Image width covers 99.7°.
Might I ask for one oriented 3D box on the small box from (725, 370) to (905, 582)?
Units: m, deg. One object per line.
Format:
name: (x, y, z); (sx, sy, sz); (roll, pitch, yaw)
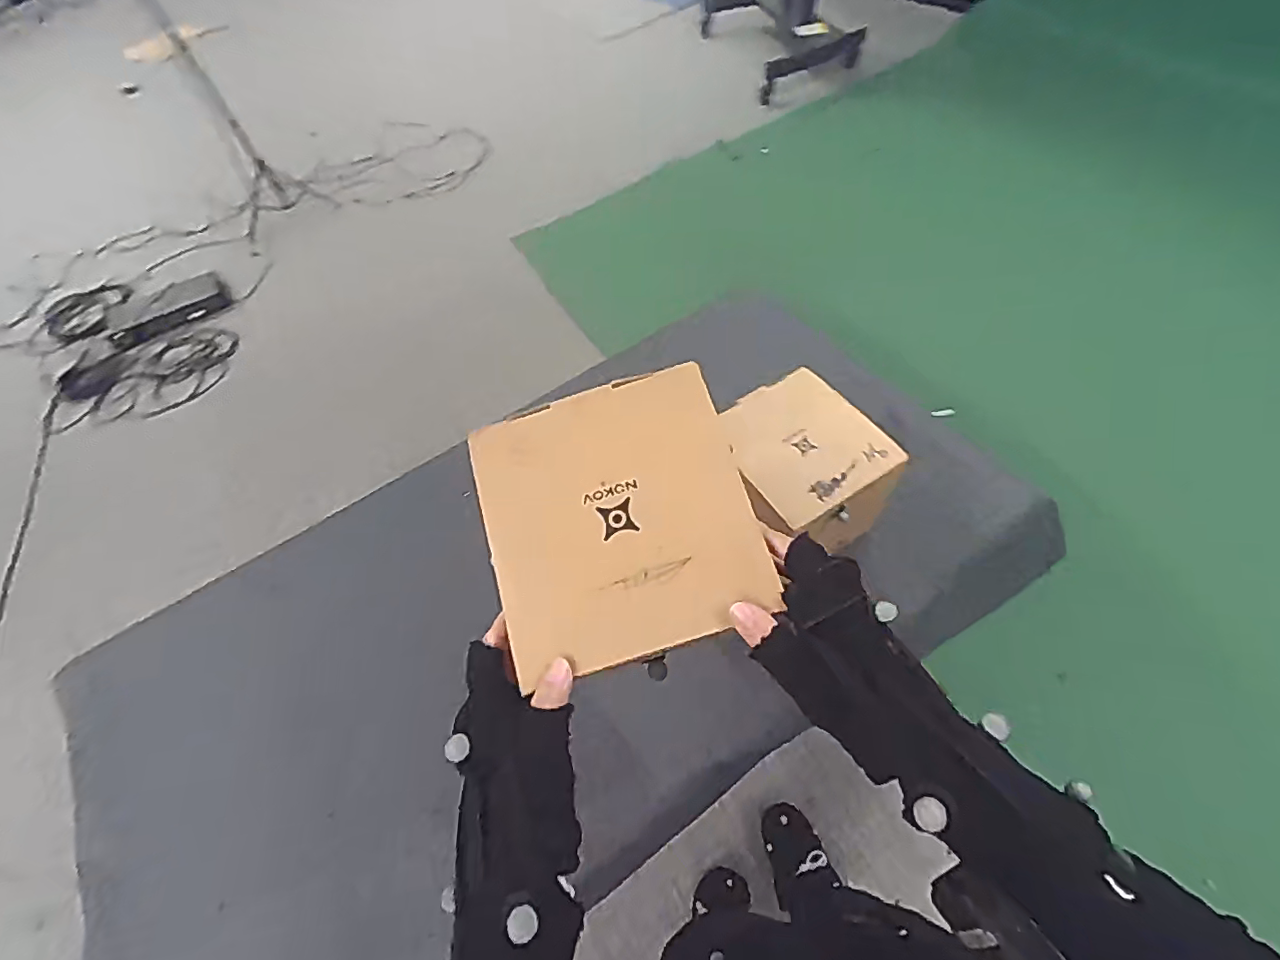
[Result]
small box: (0.194, -0.001, 0.697); (0.168, 0.176, 0.179); (-31, 59, -11)

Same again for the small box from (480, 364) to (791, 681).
small box: (-0.004, 0.044, 0.418); (0.168, 0.176, 0.179); (-16, 72, 1)
